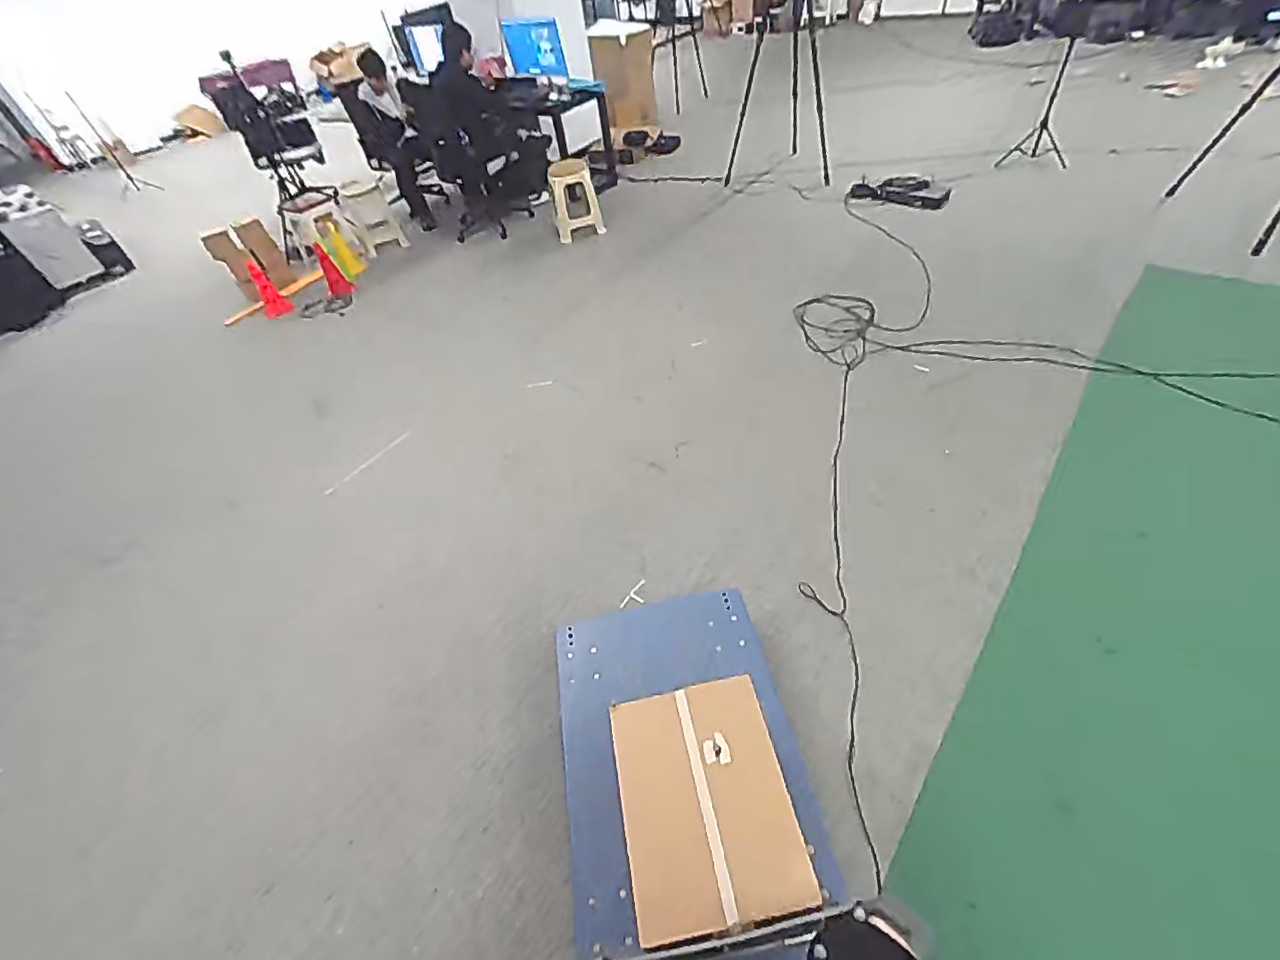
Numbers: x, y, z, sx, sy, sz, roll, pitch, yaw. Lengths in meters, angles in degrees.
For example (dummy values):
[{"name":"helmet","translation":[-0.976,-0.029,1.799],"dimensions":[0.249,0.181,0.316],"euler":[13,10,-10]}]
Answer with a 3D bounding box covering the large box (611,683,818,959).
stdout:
[{"name":"large box","translation":[0.142,0.717,1.147],"dimensions":[0.320,0.320,0.408],"euler":[-12,45,-2]}]
